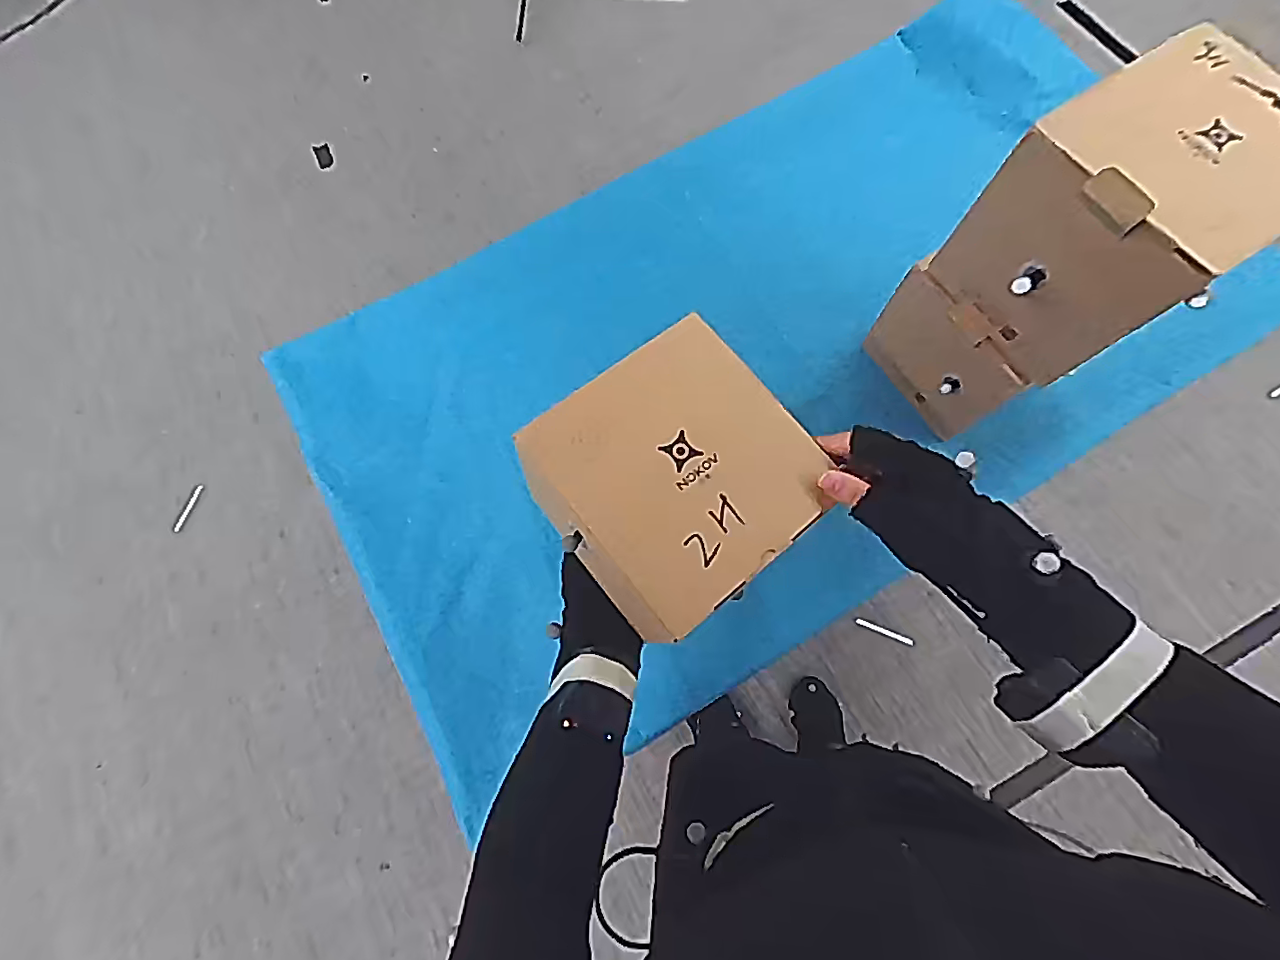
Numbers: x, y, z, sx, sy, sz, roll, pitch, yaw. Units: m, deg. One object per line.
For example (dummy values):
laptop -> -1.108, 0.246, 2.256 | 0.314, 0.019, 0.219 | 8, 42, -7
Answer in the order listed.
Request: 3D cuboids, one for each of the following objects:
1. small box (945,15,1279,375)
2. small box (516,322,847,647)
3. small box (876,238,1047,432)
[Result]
small box -> 0.398, -0.221, 0.458 | 0.179, 0.176, 0.168 | -35, 75, -6
small box -> 0.021, 0.014, 0.443 | 0.168, 0.176, 0.179 | -34, 83, -12
small box -> 0.399, -0.180, 0.616 | 0.179, 0.176, 0.168 | -31, 76, -4
